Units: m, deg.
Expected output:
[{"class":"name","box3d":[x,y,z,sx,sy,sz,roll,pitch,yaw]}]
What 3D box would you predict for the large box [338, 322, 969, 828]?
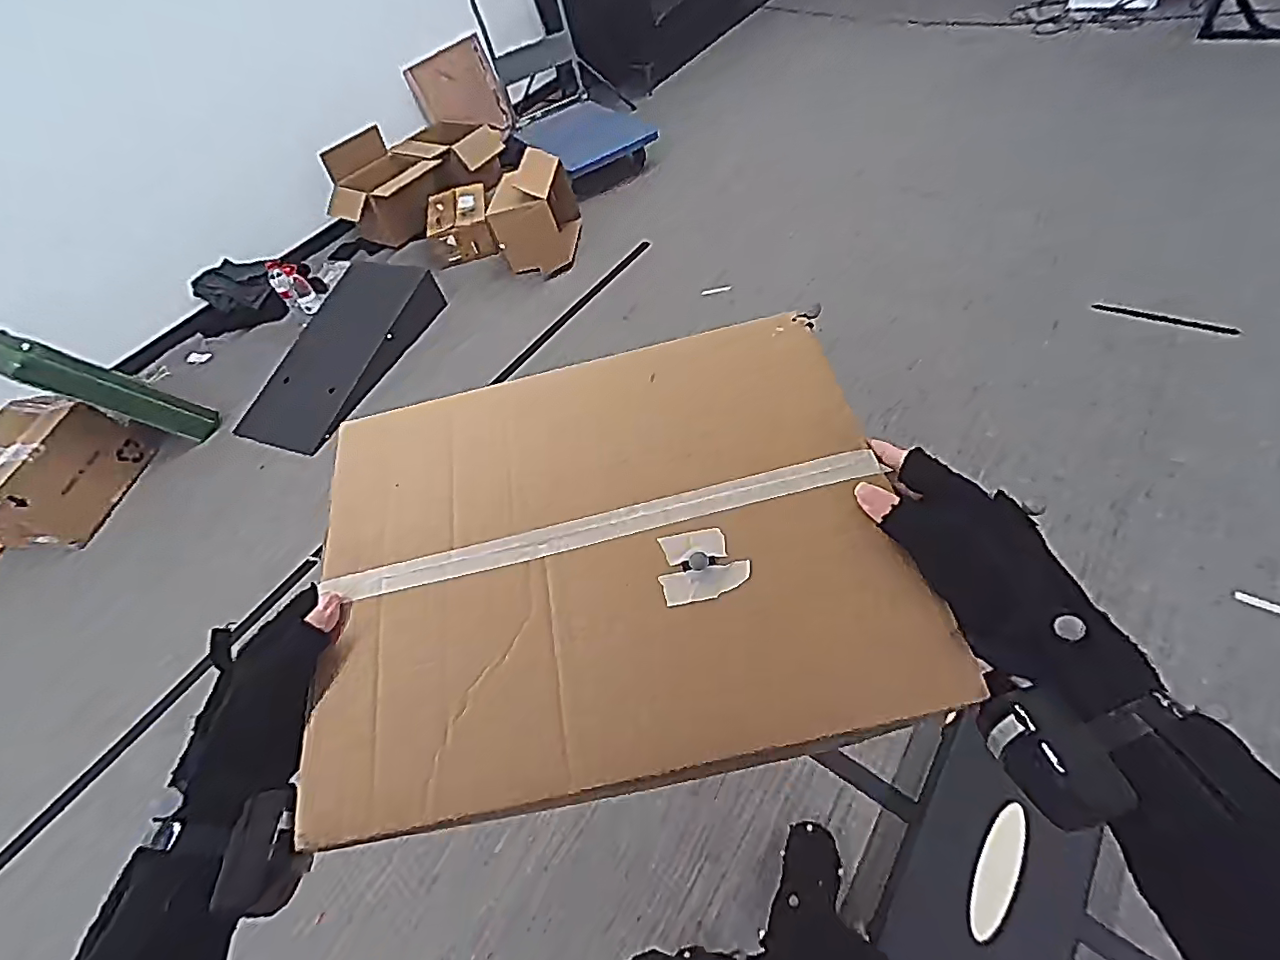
[{"class":"large box","box3d":[-0.003,0.109,0.528,0.408,0.320,0.320,-13,61,1]}]
